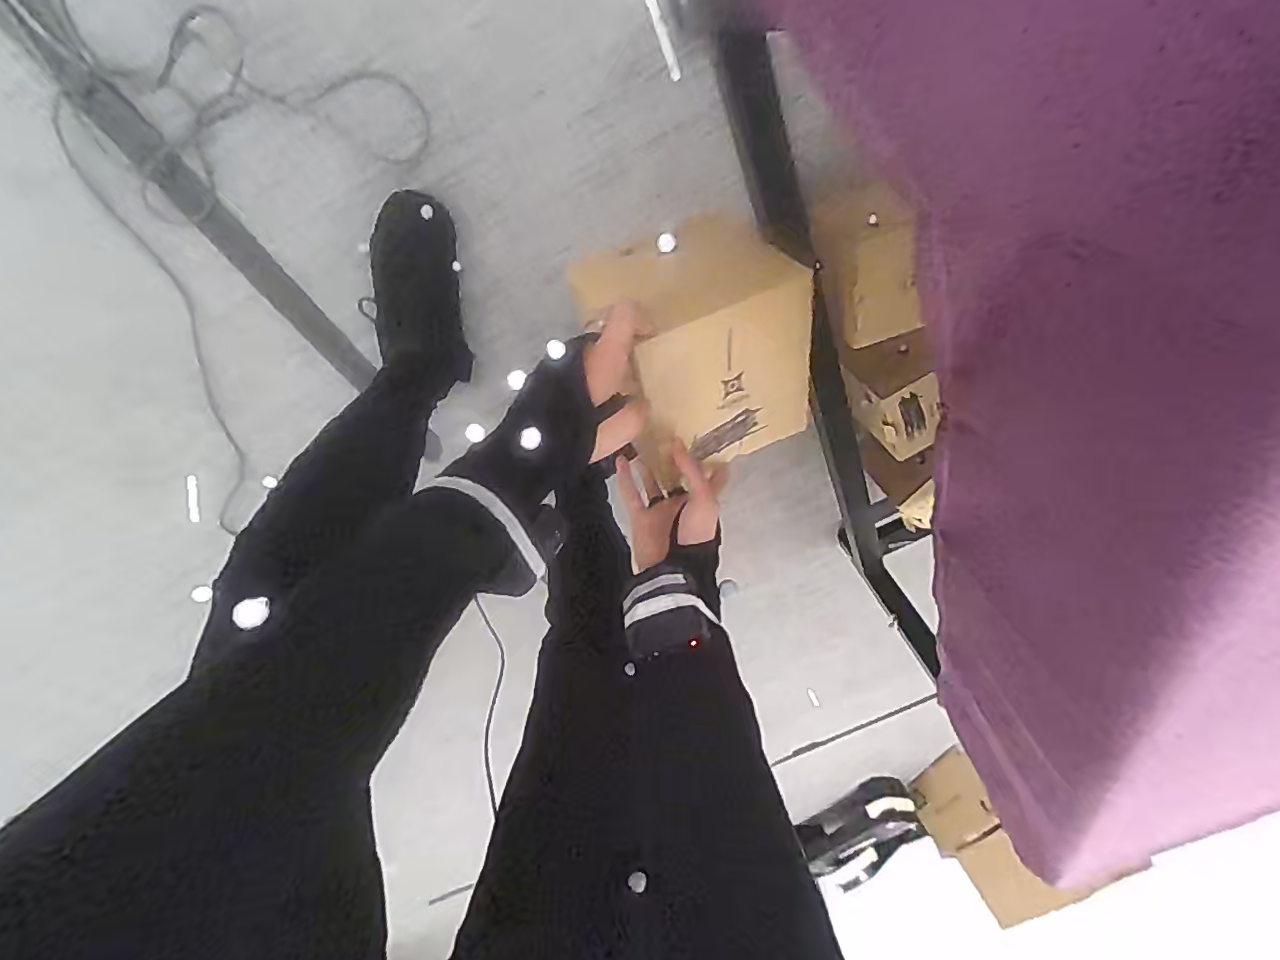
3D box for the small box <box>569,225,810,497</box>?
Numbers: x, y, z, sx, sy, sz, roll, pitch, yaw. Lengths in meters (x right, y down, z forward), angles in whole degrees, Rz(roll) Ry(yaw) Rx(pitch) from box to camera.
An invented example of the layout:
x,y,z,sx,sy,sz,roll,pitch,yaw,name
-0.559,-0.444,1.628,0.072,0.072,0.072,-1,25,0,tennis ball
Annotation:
x,y,z,sx,sy,sz,roll,pitch,yaw,name
0.047,-0.121,0.540,0.168,0.176,0.179,-25,137,-9,small box
